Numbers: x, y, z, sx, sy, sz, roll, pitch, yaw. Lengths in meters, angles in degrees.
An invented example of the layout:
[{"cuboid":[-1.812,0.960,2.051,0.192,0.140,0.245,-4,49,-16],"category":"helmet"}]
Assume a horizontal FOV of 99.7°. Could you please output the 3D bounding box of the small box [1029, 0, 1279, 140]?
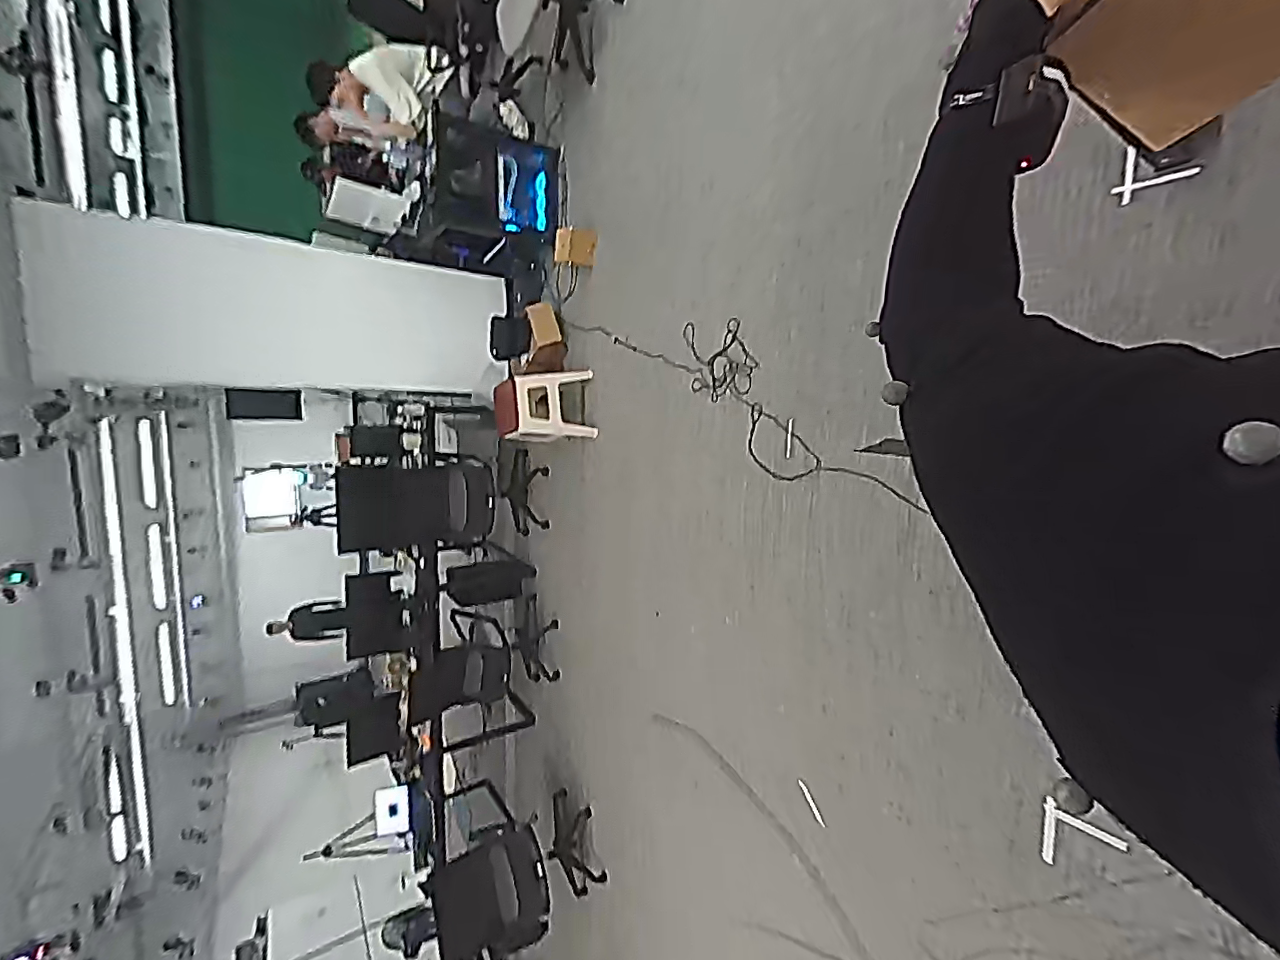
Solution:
[{"cuboid":[0.448,-0.423,0.420,0.179,0.176,0.168,-26,47,66],"category":"small box"}]
